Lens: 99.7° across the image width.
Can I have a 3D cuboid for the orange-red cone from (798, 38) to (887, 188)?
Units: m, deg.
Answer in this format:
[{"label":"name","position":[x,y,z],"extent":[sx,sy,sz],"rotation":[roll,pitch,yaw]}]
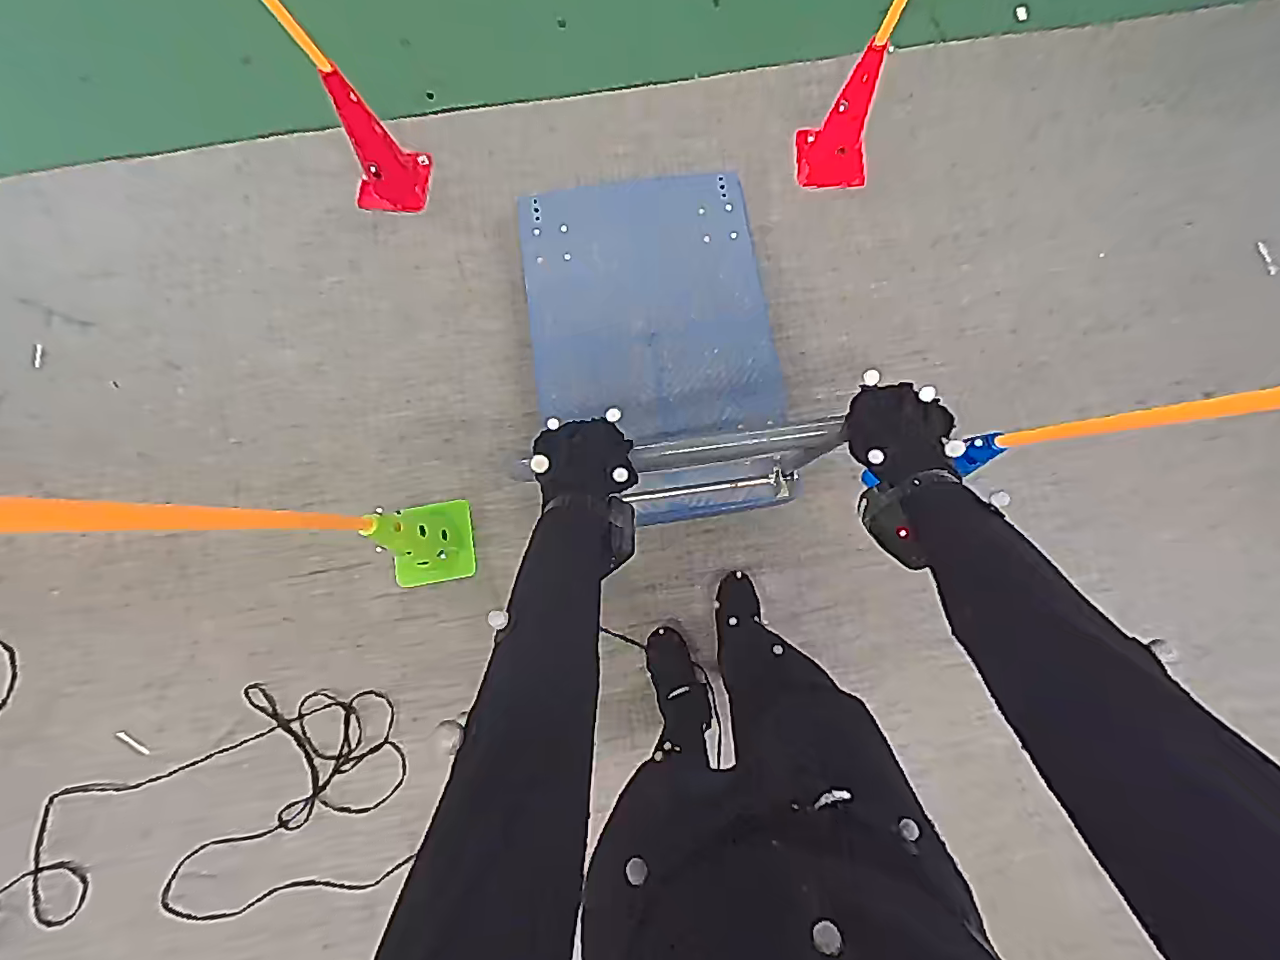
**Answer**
[{"label":"orange-red cone","position":[0.569,-0.990,1.446],"extent":[0.198,0.360,0.199],"rotation":[2,79,1]}]
